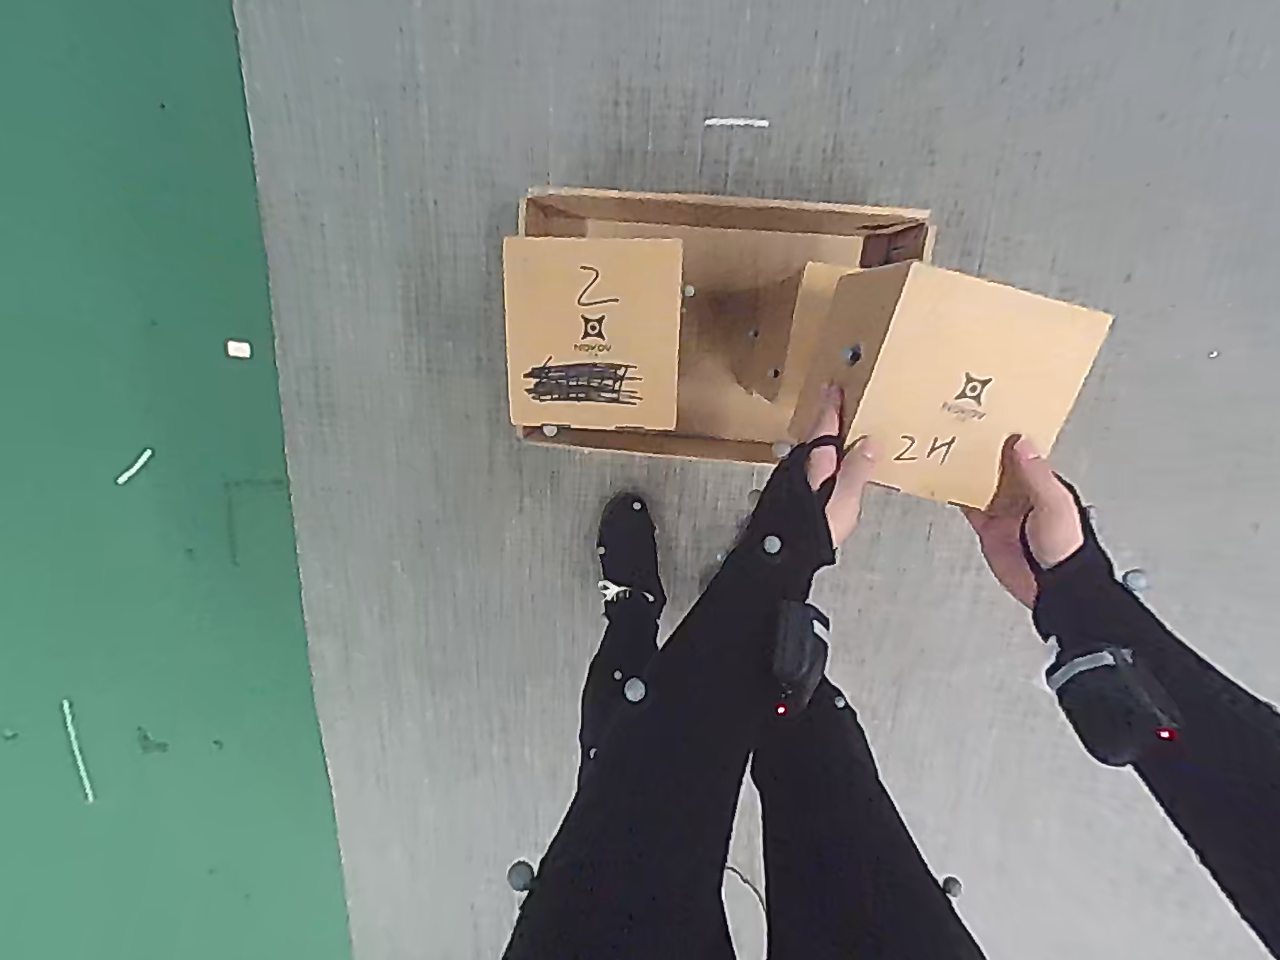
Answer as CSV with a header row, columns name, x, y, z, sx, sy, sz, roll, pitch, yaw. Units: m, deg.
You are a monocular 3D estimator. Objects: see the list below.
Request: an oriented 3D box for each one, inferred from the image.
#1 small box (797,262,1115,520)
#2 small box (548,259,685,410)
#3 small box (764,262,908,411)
name,x,y,z,sx,sy,sz,roll,pitch,yaw
small box,0.267,-0.088,0.509,0.168,0.176,0.179,14,107,-4
small box,-0.027,-0.195,0.739,0.168,0.176,0.179,3,105,4
small box,0.272,-0.181,0.726,0.168,0.176,0.179,9,107,1
